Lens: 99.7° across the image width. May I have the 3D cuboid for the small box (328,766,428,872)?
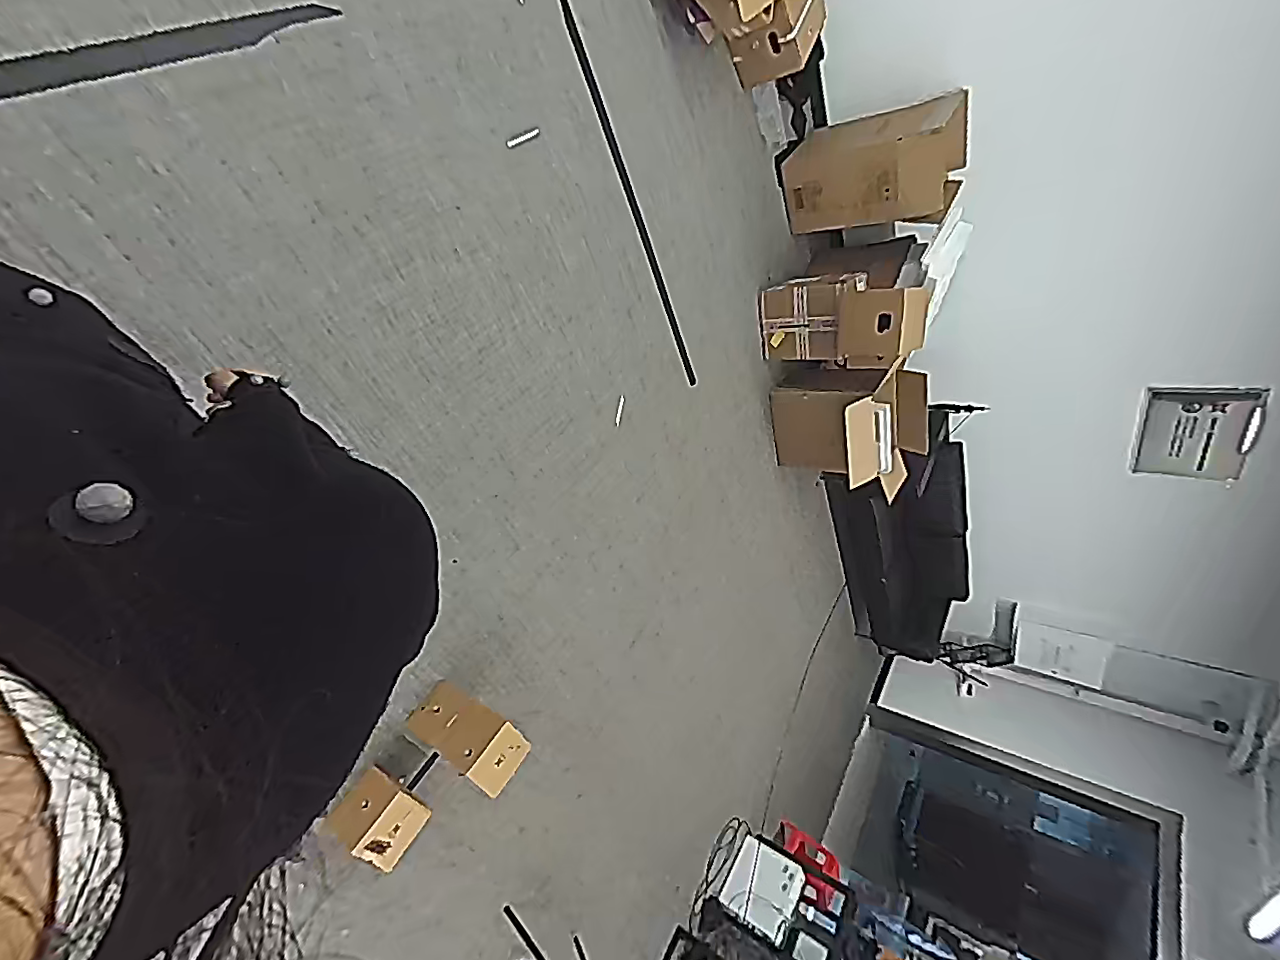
[{"bbox_3d":[-0.764,0.974,1.562,0.179,0.176,0.168,-52,133,-33],"label":"small box"}]

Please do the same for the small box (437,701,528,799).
[{"bbox_3d":[-0.478,0.802,1.618,0.179,0.176,0.168,-50,133,-33],"label":"small box"}]
